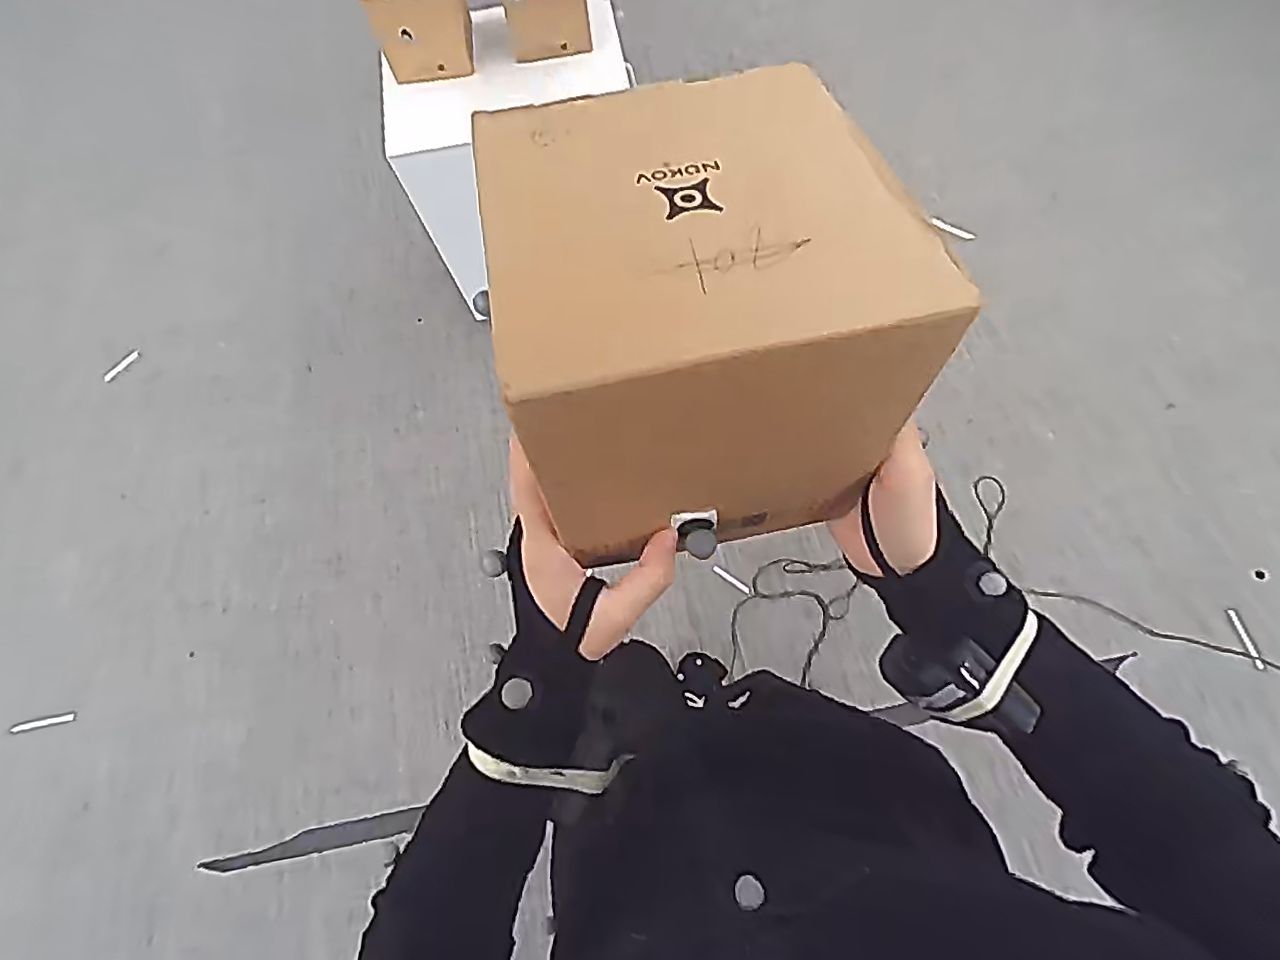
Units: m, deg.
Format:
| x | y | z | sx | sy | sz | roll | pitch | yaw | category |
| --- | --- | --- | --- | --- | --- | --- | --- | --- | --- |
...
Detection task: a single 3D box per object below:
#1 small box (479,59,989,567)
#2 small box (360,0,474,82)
| x | y | z | sx | sy | sz | roll | pitch | yaw | category |
| --- | --- | --- | --- | --- | --- | --- | --- | --- | --- |
| 0.024 | -0.076 | 0.286 | 0.168 | 0.176 | 0.179 | -13 | 61 | -4 | small box |
| -0.446 | -0.952 | 1.106 | 0.168 | 0.176 | 0.179 | -7 | 71 | 0 | small box |
